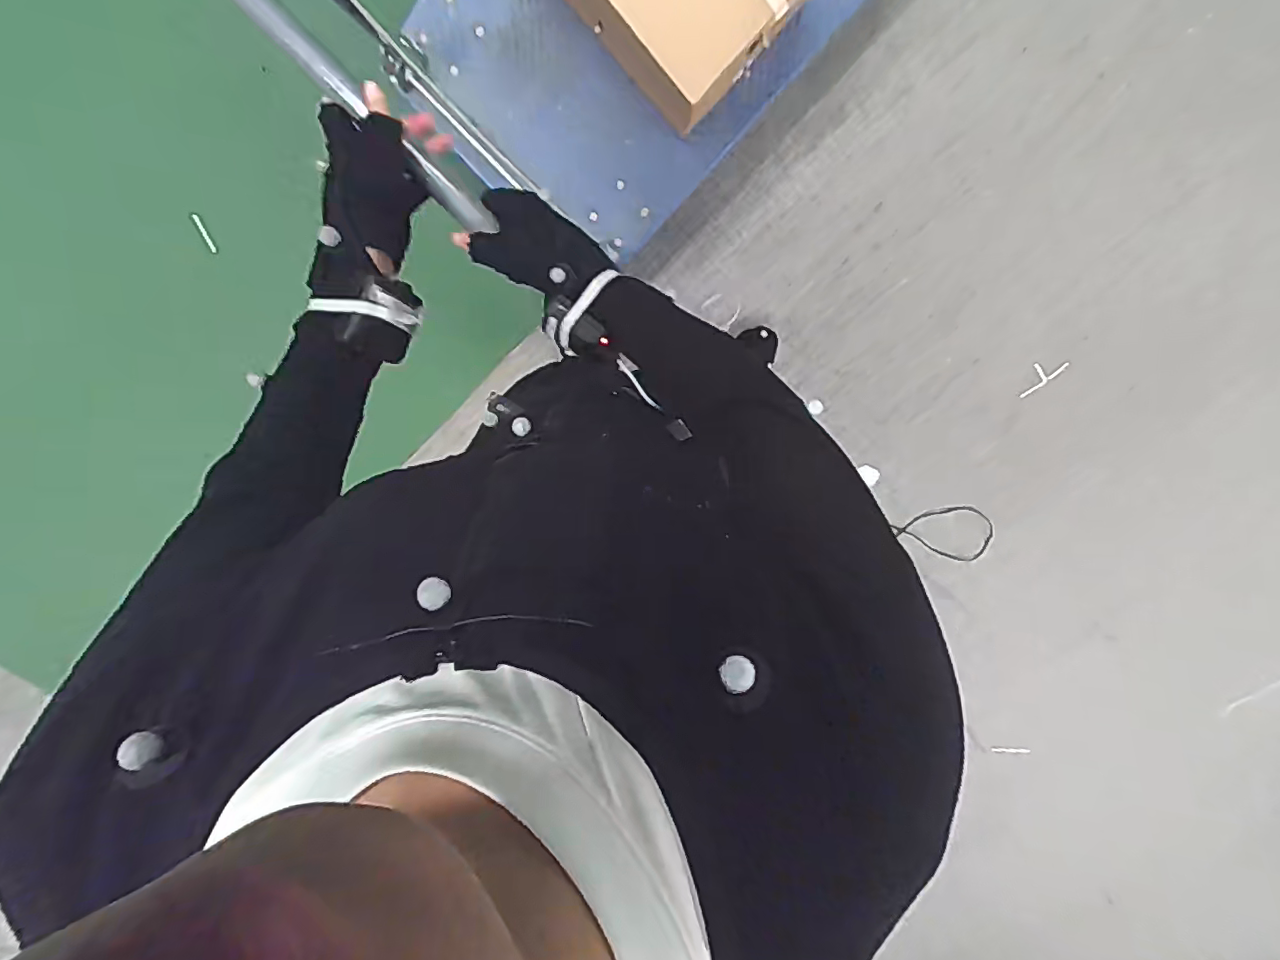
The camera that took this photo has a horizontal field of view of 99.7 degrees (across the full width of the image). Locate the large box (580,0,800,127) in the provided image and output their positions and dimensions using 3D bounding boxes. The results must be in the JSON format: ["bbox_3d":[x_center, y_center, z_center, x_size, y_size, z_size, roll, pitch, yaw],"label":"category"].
[{"bbox_3d":[0.051,-0.838,0.810,0.320,0.320,0.408,-41,107,18],"label":"large box"}]
